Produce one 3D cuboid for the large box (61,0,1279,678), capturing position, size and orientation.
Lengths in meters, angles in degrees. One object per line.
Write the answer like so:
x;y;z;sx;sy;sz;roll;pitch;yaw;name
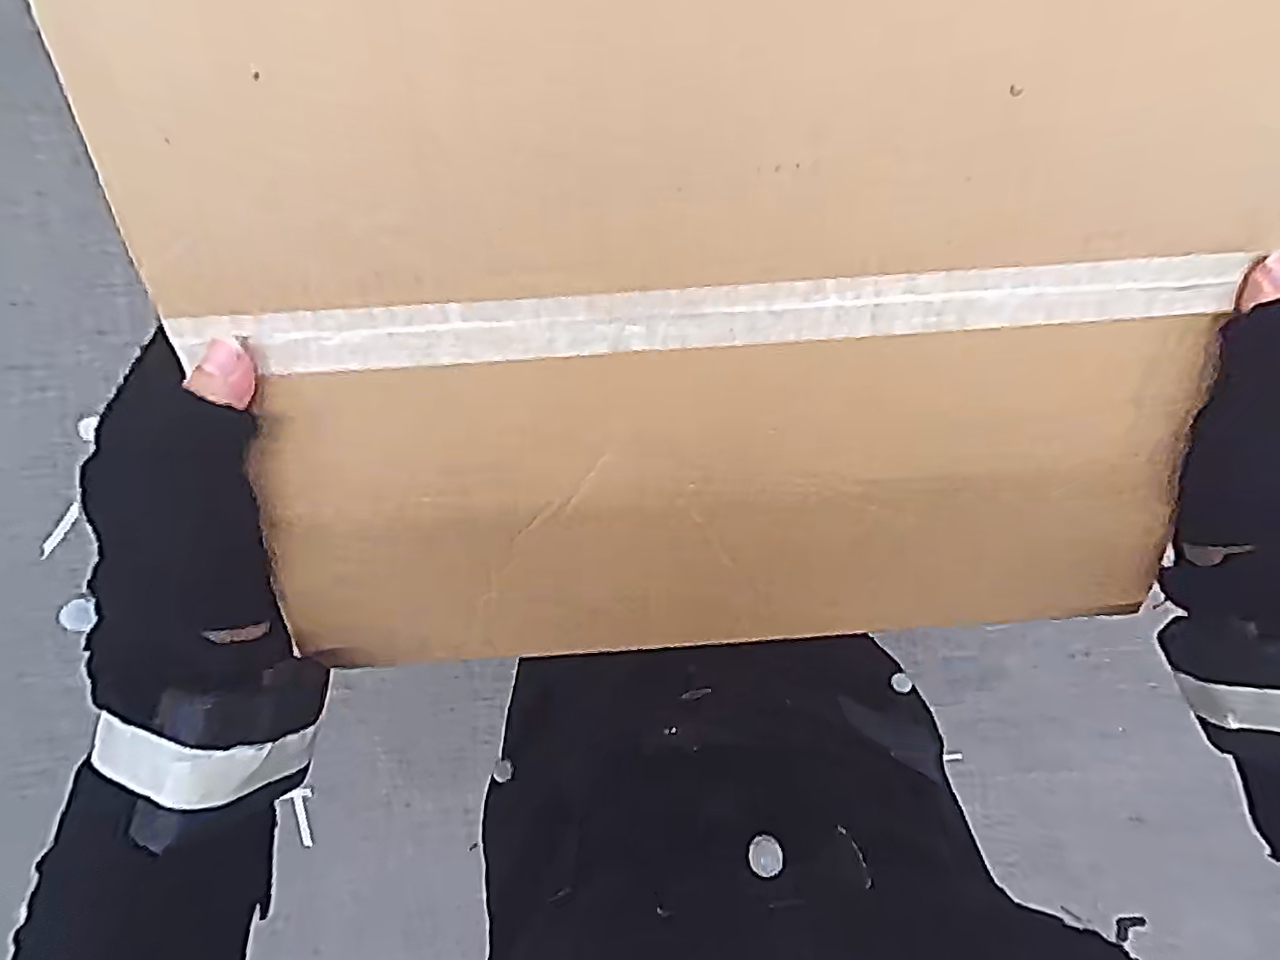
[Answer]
0.028;-0.116;0.347;0.408;0.320;0.320;-4;114;-1;large box
